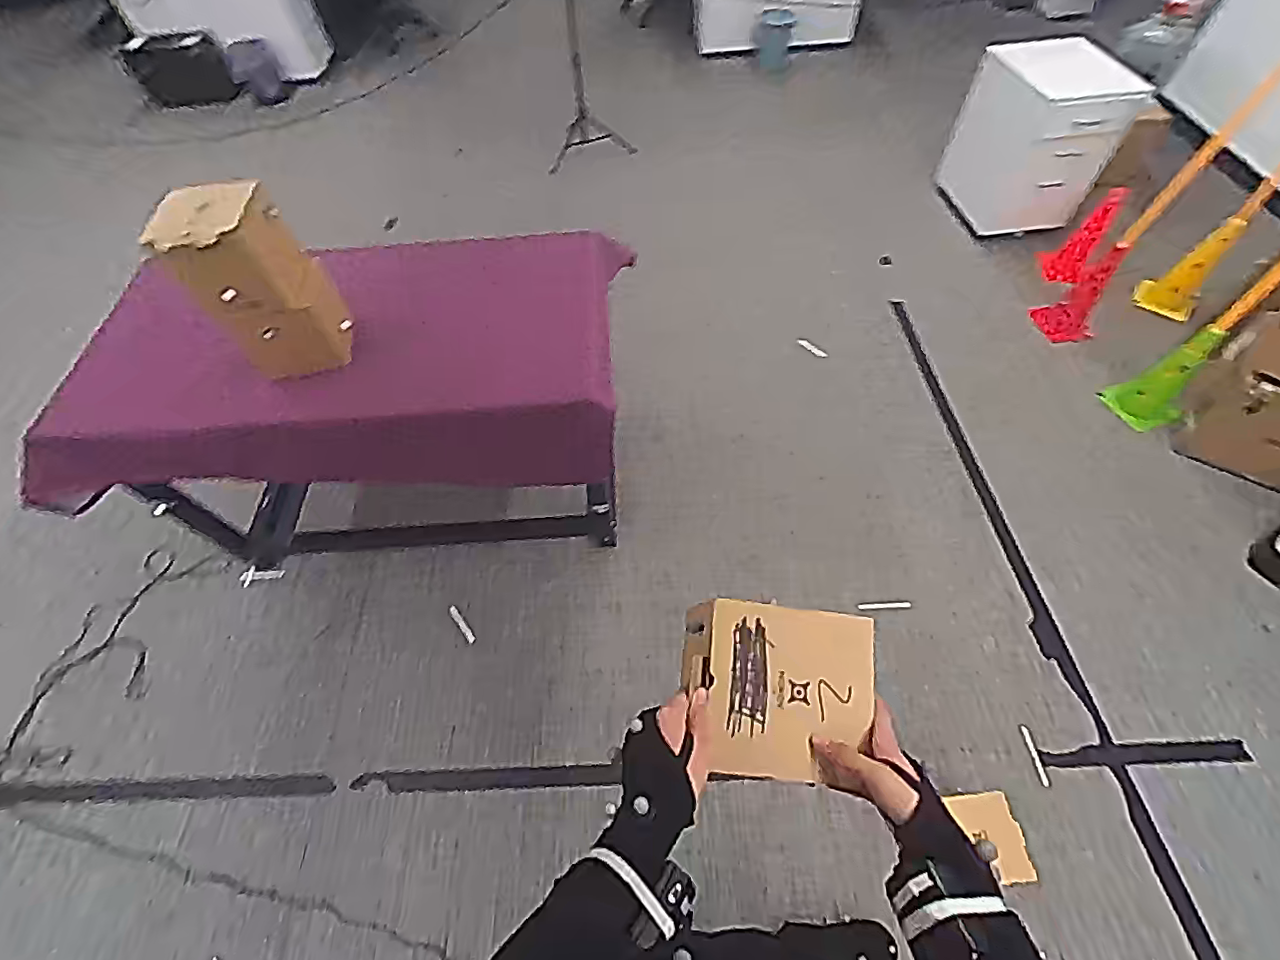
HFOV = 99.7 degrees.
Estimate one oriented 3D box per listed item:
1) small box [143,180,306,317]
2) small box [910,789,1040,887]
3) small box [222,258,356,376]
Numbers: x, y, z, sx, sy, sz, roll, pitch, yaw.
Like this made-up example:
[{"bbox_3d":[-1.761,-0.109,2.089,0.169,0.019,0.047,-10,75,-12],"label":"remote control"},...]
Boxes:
[{"bbox_3d":[-0.779,-0.441,1.040,0.168,0.176,0.179,-8,58,-2],"label":"small box"},{"bbox_3d":[0.741,0.810,1.228,0.179,0.176,0.168,-6,58,-1],"label":"small box"},{"bbox_3d":[-0.750,-0.348,1.175,0.179,0.176,0.168,-12,58,-6],"label":"small box"}]
